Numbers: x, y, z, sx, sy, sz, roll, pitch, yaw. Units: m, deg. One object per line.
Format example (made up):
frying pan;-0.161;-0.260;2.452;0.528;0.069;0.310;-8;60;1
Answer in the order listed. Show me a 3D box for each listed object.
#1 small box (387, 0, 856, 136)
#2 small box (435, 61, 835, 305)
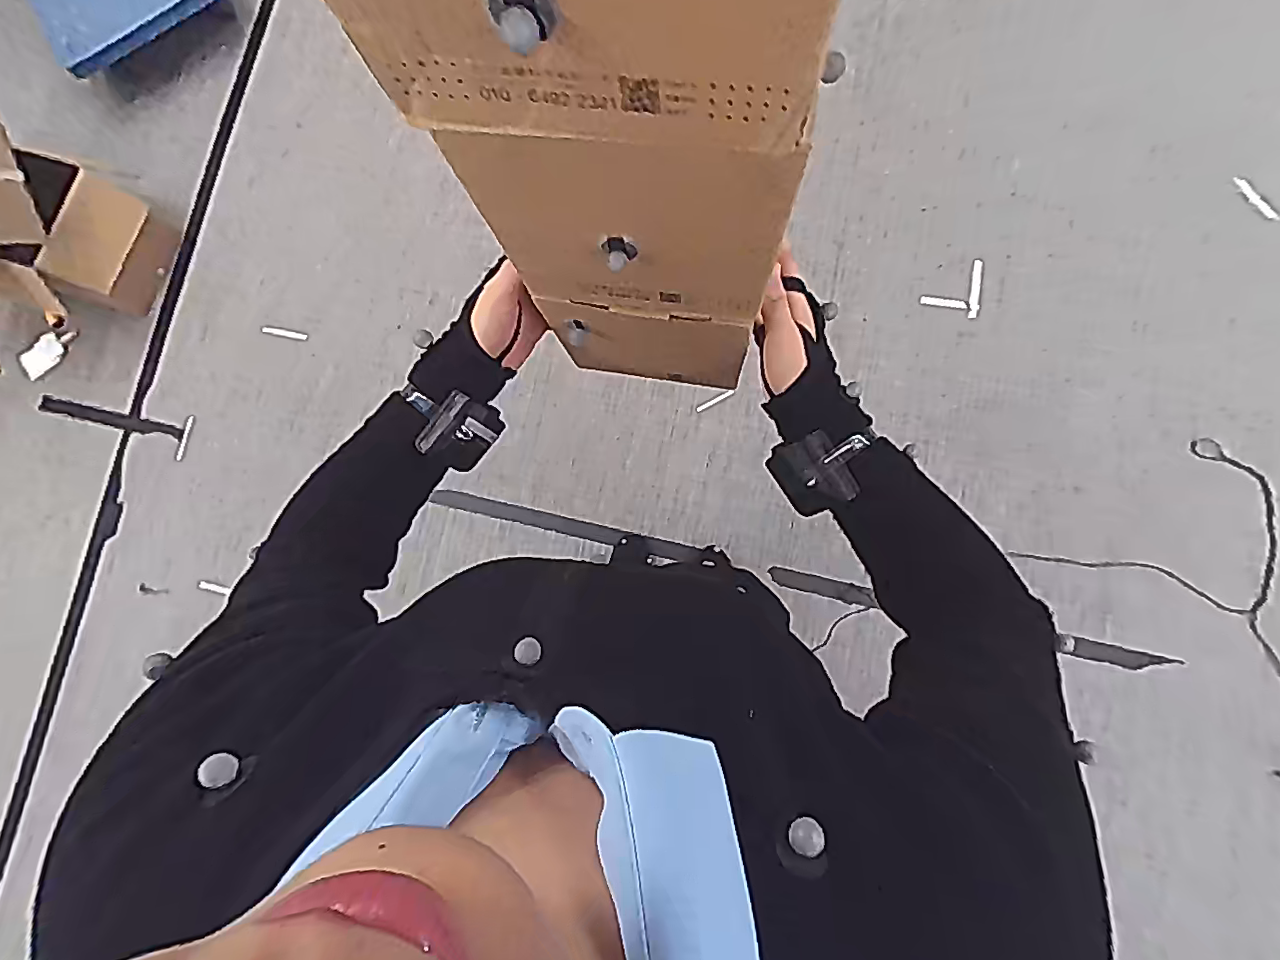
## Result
small box;-0.006;-0.237;0.144;0.168;0.176;0.179;8;85;6
small box;0.013;-0.218;0.304;0.168;0.176;0.179;9;84;5
